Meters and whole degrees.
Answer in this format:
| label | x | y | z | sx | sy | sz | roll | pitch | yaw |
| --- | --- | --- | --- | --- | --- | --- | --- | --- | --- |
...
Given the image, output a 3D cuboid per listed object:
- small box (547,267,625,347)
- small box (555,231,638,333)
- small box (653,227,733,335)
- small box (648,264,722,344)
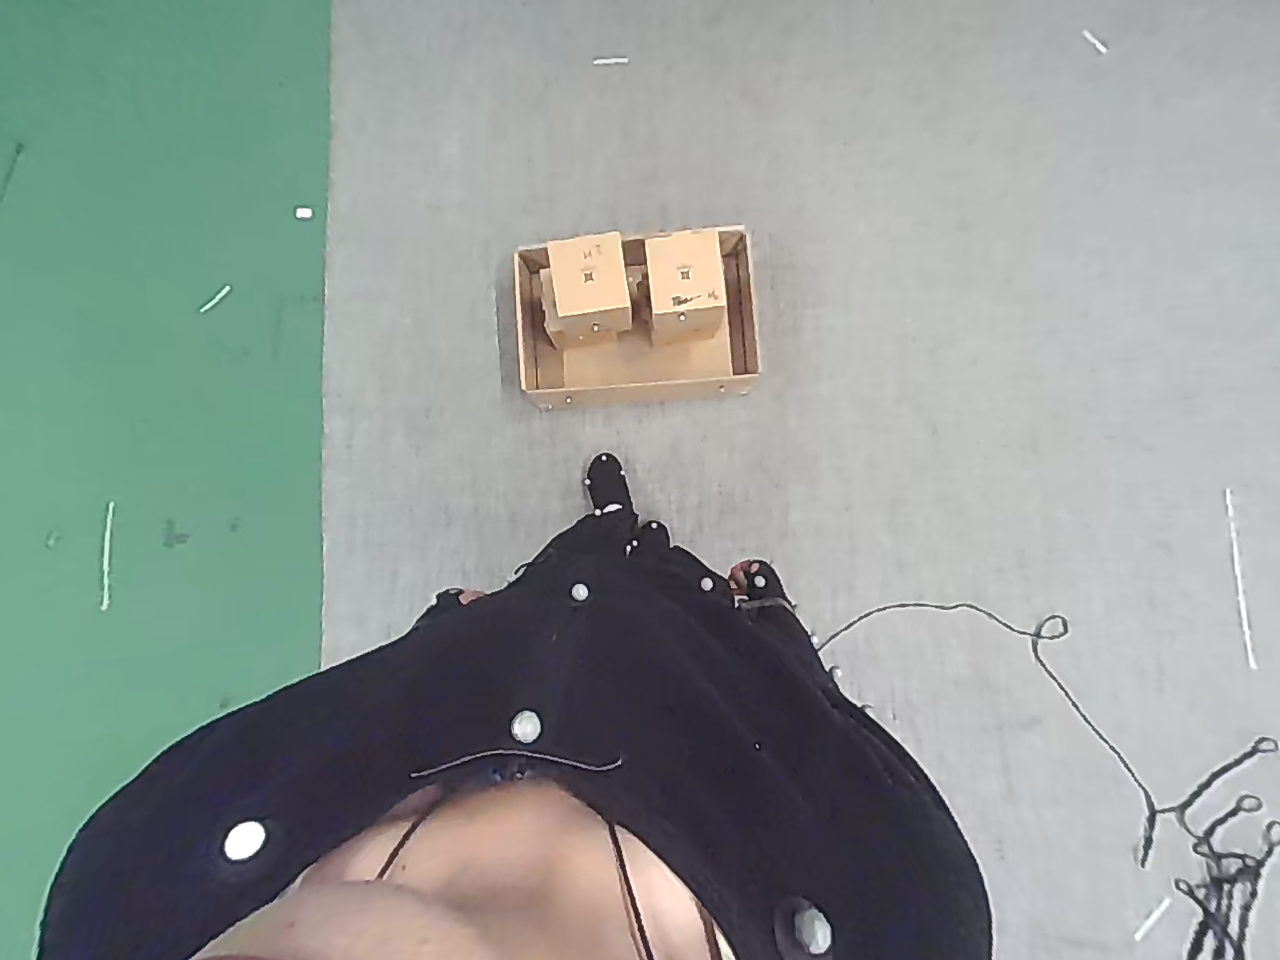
| label | x | y | z | sx | sy | sz | roll | pitch | yaw |
| --- | --- | --- | --- | --- | --- | --- | --- | --- | --- |
| small box | -0.139 | -0.465 | 1.450 | 0.179 | 0.176 | 0.168 | -7 | 88 | 1 |
| small box | -0.097 | -0.459 | 1.285 | 0.168 | 0.176 | 0.179 | -8 | 88 | 0 |
| small box | 0.122 | -0.460 | 1.268 | 0.168 | 0.176 | 0.179 | -6 | 86 | 5 |
| small box | 0.124 | -0.473 | 1.434 | 0.179 | 0.176 | 0.168 | -10 | 87 | 3 |
